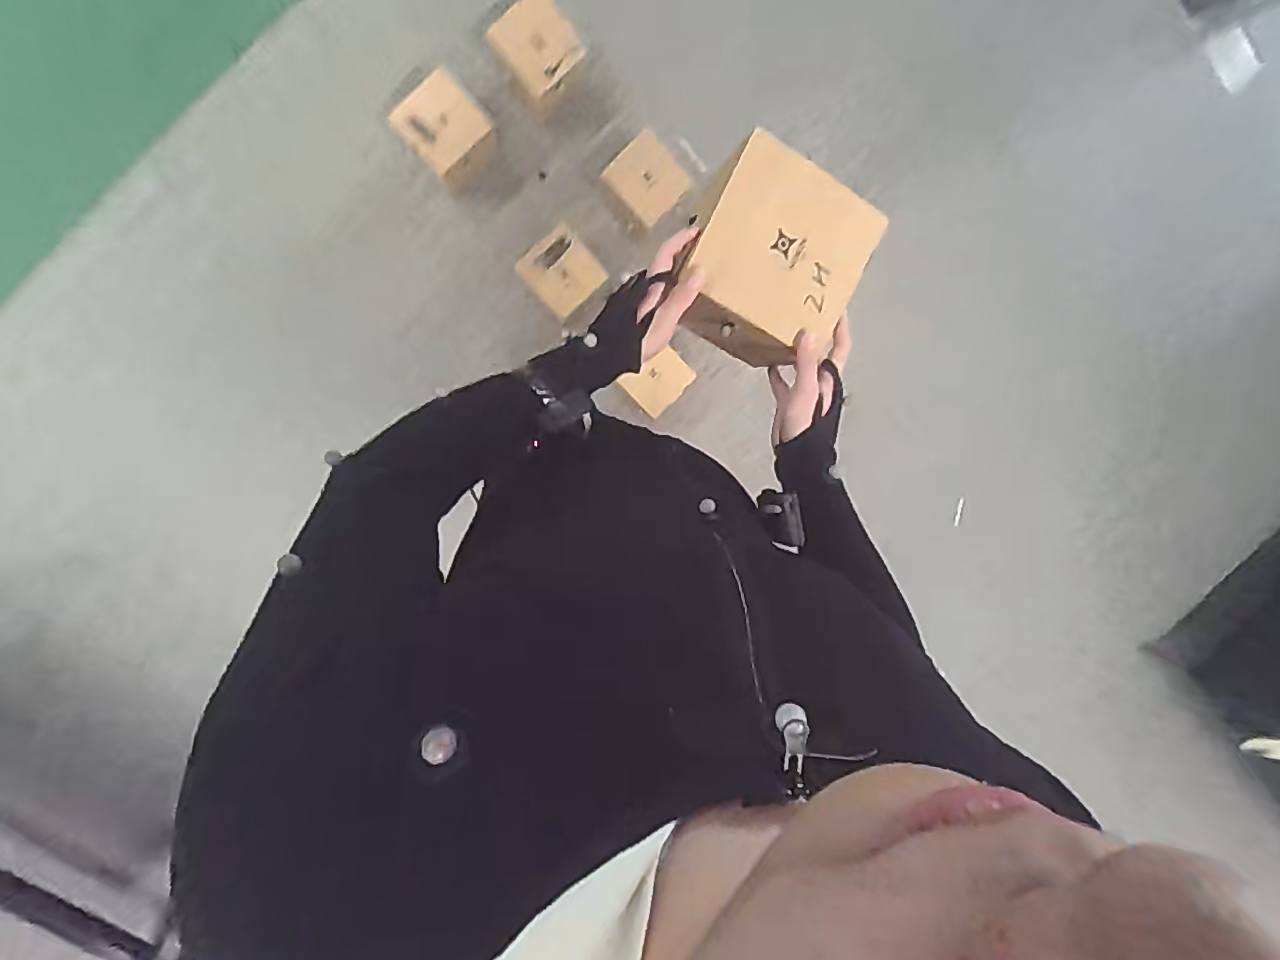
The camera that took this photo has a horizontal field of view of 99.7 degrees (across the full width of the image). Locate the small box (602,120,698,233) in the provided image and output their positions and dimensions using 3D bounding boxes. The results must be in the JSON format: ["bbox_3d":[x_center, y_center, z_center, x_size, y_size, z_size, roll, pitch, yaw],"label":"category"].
[{"bbox_3d":[0.020,-0.769,1.399,0.168,0.176,0.179,-44,104,0],"label":"small box"}]

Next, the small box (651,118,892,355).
[{"bbox_3d":[0.133,-0.251,0.615,0.179,0.176,0.168,25,95,-16],"label":"small box"}]

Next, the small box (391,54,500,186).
[{"bbox_3d":[-0.458,-0.854,1.307,0.179,0.176,0.168,-43,104,0],"label":"small box"}]

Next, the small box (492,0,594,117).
[{"bbox_3d":[-0.232,-1.036,1.308,0.168,0.176,0.179,-41,103,1],"label":"small box"}]

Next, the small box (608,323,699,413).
[{"bbox_3d":[0.029,-0.303,1.491,0.168,0.176,0.179,-45,105,1],"label":"small box"}]
